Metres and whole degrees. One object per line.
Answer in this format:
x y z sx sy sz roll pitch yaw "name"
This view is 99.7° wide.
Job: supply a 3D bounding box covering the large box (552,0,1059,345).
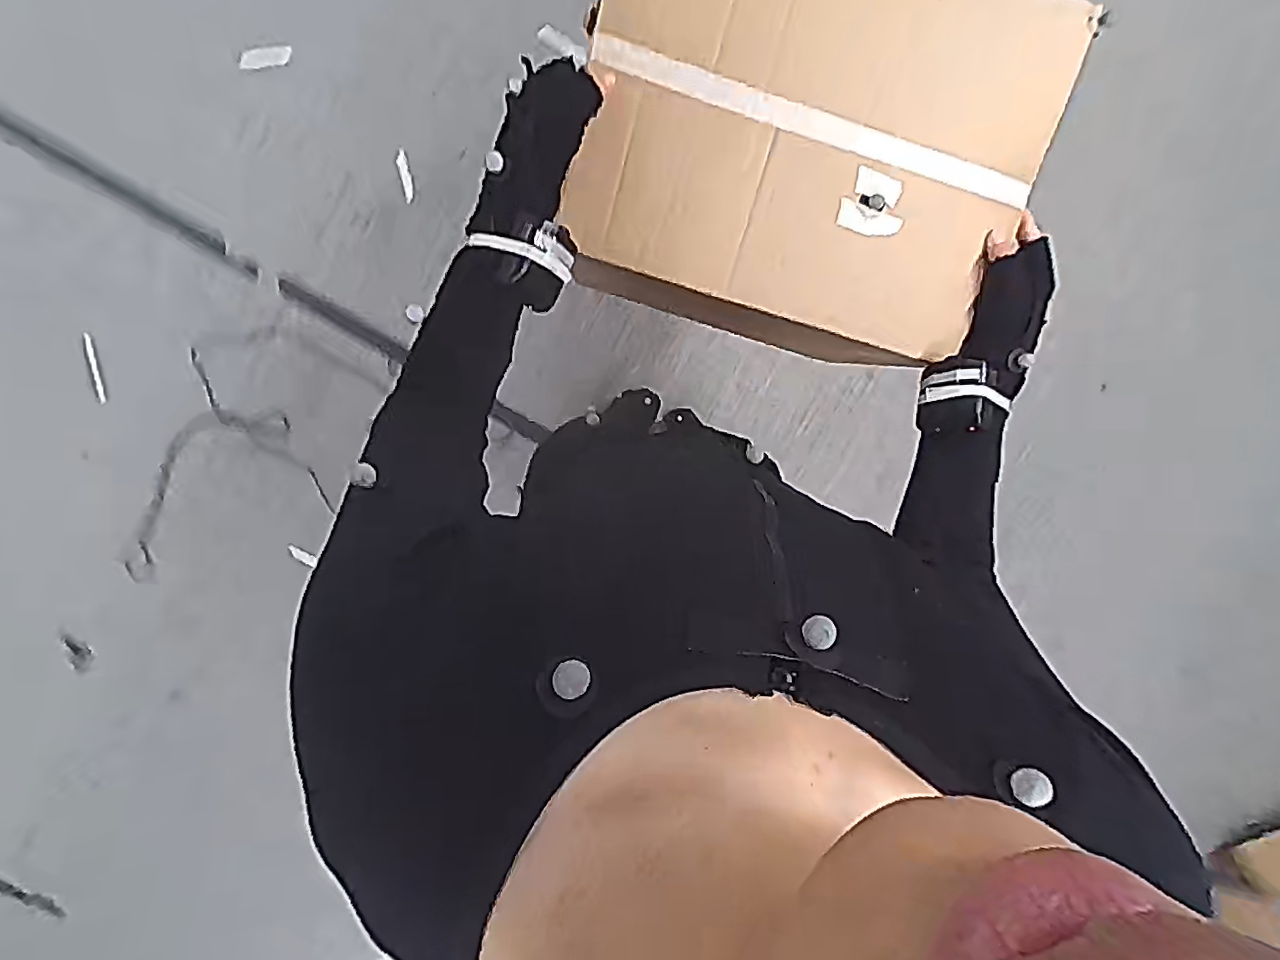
0.133 -0.355 0.629 0.408 0.320 0.320 13 104 -7 "large box"
